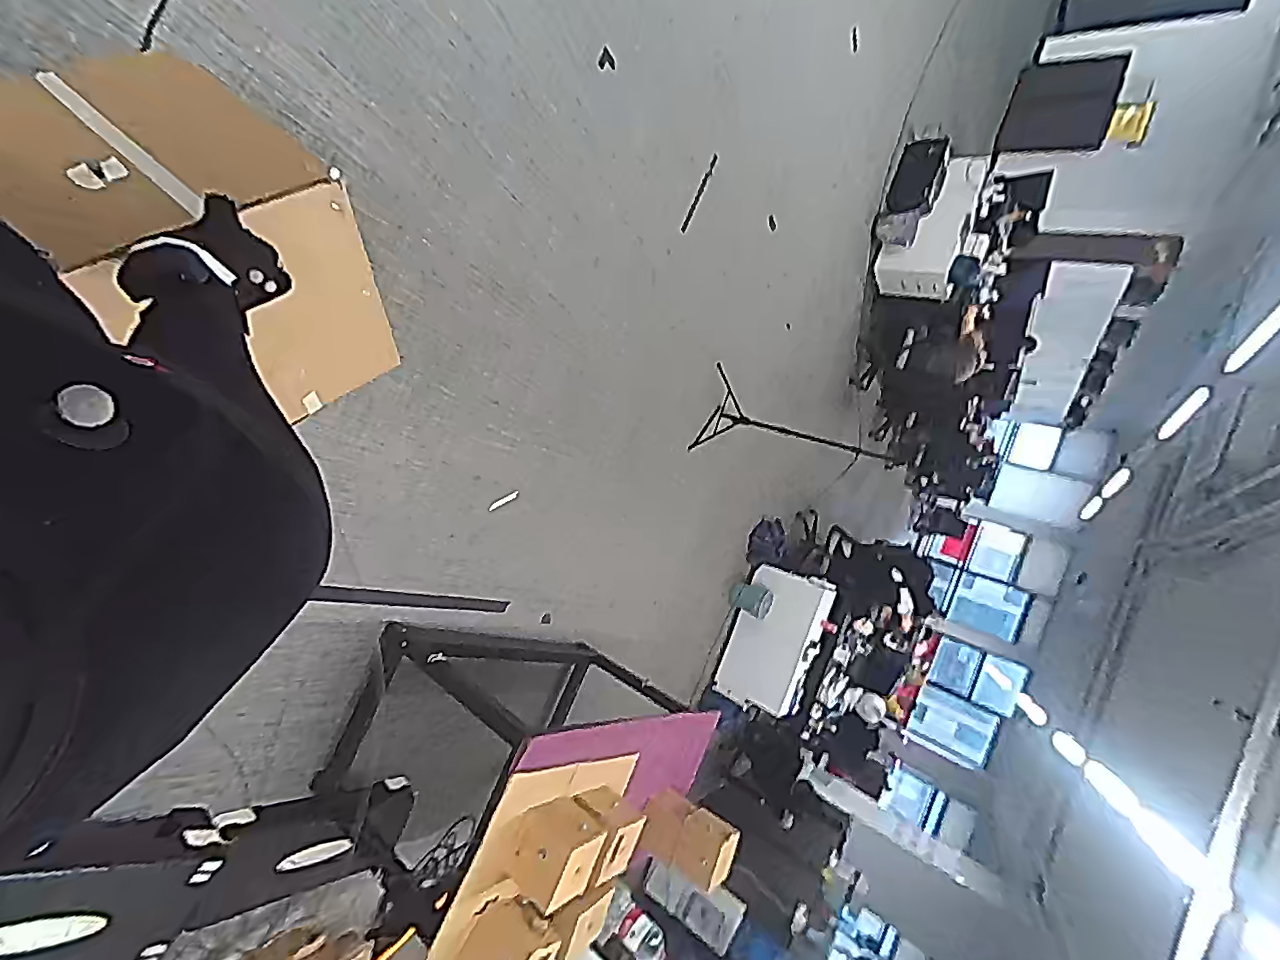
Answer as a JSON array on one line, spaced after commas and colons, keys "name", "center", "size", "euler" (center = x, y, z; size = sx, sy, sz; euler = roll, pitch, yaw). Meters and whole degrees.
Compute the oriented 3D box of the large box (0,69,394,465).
[{"name": "large box", "center": [-0.633, -0.301, 0.768], "size": [0.320, 0.408, 0.320], "euler": [-42, 162, -29]}]
